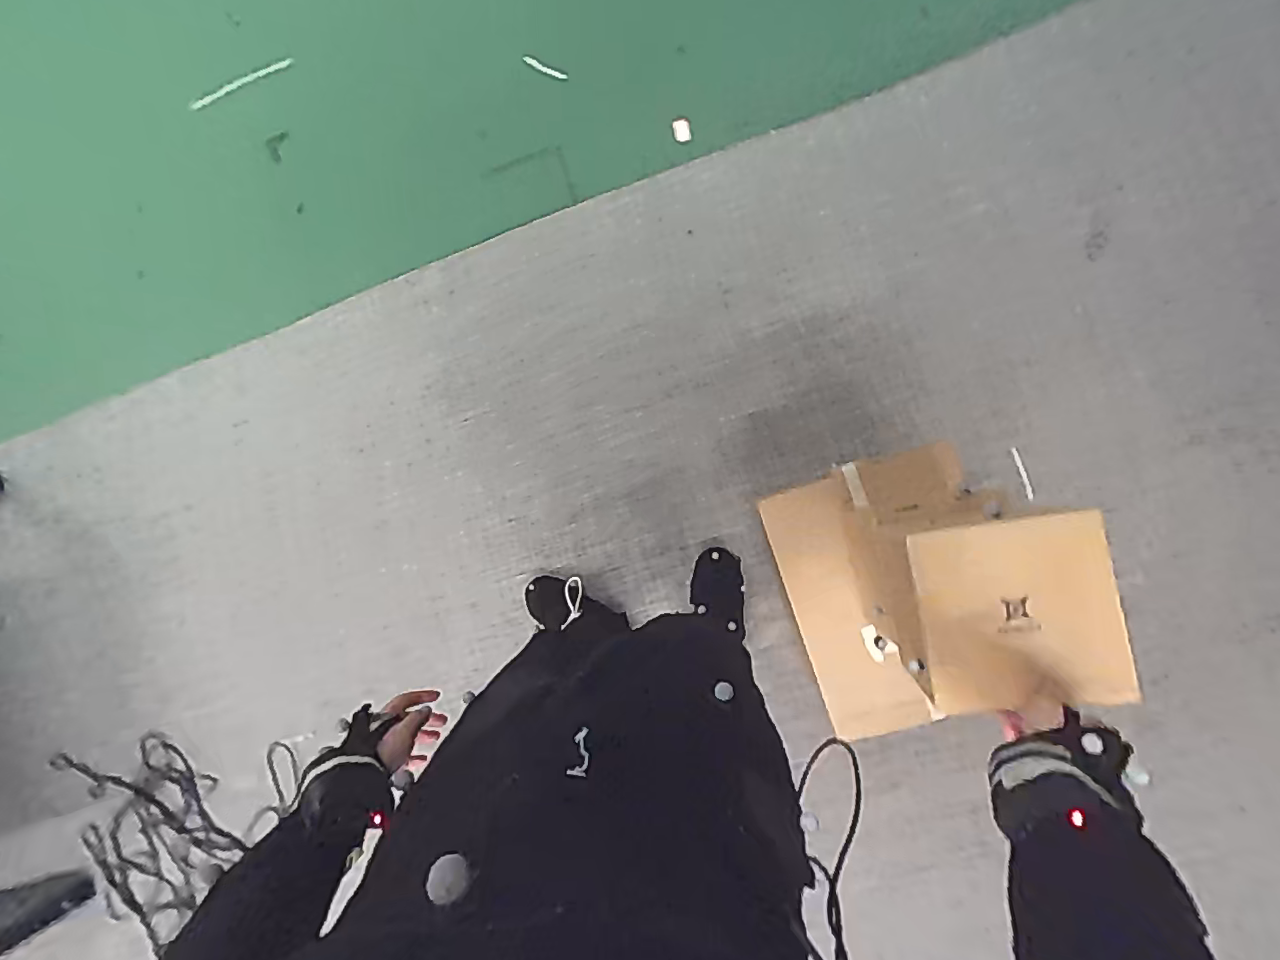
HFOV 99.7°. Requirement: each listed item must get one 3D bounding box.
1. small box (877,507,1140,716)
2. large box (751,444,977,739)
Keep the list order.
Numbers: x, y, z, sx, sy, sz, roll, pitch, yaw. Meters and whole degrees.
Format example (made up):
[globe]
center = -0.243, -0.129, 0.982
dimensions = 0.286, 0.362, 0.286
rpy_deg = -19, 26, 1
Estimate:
[small box]
center = 0.366, 0.126, 0.575
dimensions = 0.168, 0.176, 0.179
rpy_deg = -11, 86, 14
[large box]
center = 0.421, 0.177, 0.992
dimensions = 0.320, 0.320, 0.408
rpy_deg = -19, 87, 9
